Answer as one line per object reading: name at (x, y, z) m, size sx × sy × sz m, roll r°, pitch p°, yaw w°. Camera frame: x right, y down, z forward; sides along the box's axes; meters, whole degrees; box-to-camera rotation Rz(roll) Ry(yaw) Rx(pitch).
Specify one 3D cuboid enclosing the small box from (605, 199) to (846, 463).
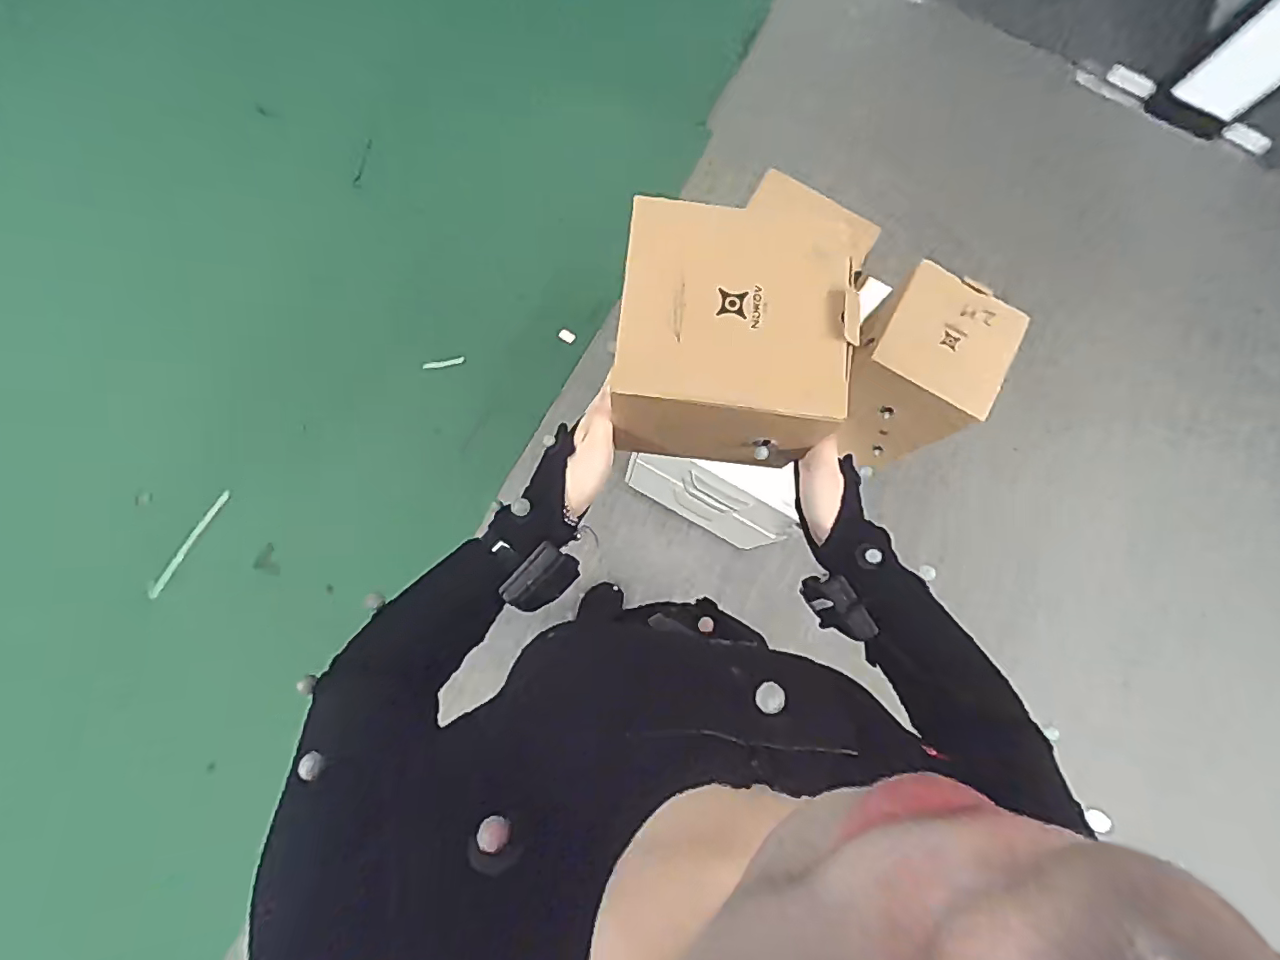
small box at (0.066, -0.116, 0.485) m, size 0.179 × 0.176 × 0.168 m, roll 5°, pitch 78°, yaw 0°

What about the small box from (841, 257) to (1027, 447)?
small box at (0.397, -0.171, 0.782) m, size 0.168 × 0.176 × 0.179 m, roll 31°, pitch 77°, yaw 2°
